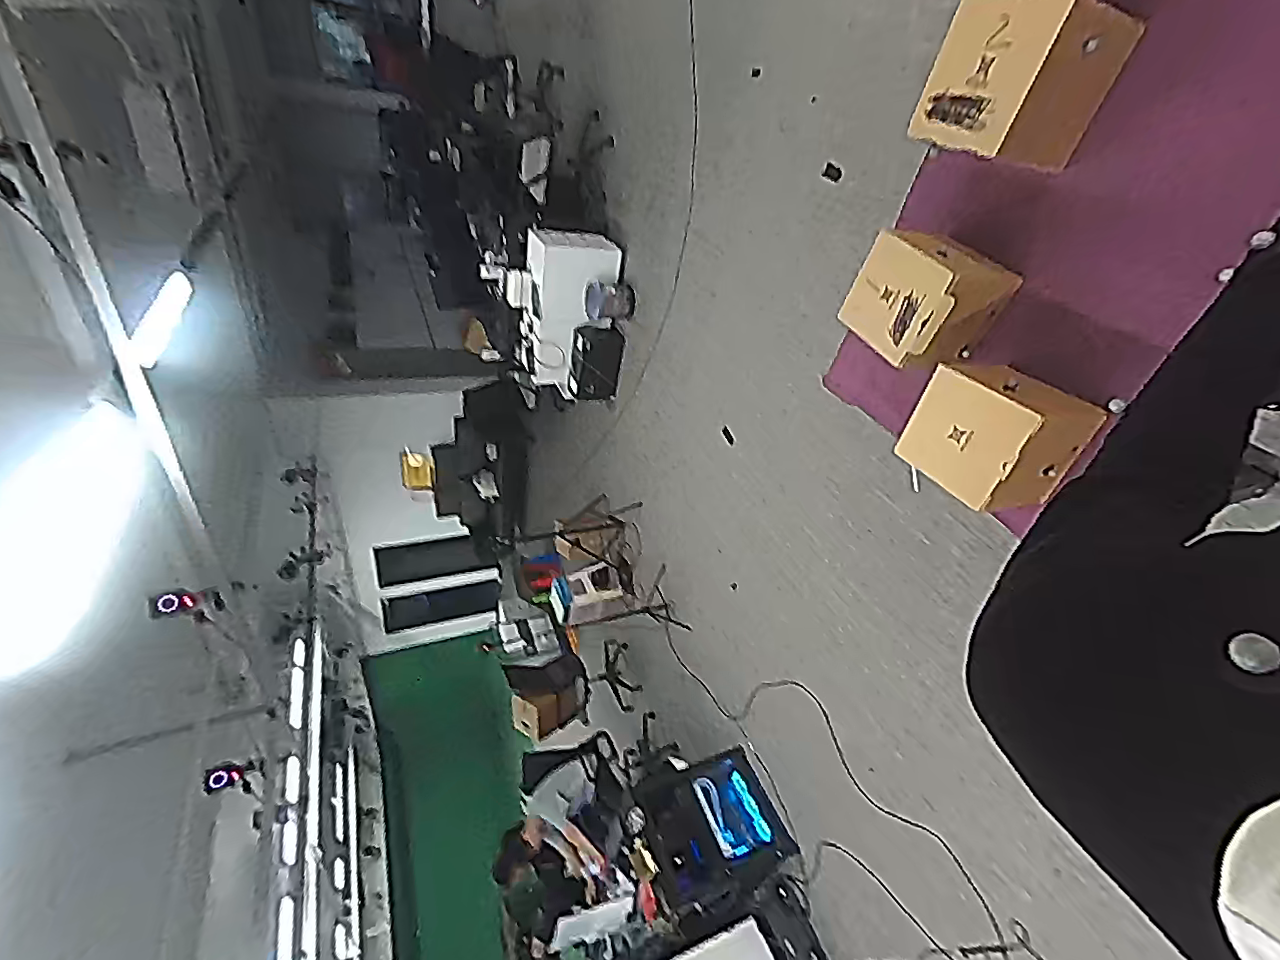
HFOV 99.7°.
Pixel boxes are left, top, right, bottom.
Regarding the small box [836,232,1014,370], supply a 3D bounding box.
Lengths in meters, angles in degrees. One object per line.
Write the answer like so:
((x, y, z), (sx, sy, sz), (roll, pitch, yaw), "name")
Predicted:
((0.487, -0.309, 0.935), (0.168, 0.176, 0.179), (108, 146, -41), "small box")

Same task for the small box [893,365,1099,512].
((0.552, -0.069, 0.853), (0.179, 0.176, 0.168), (54, 141, 46), "small box")
